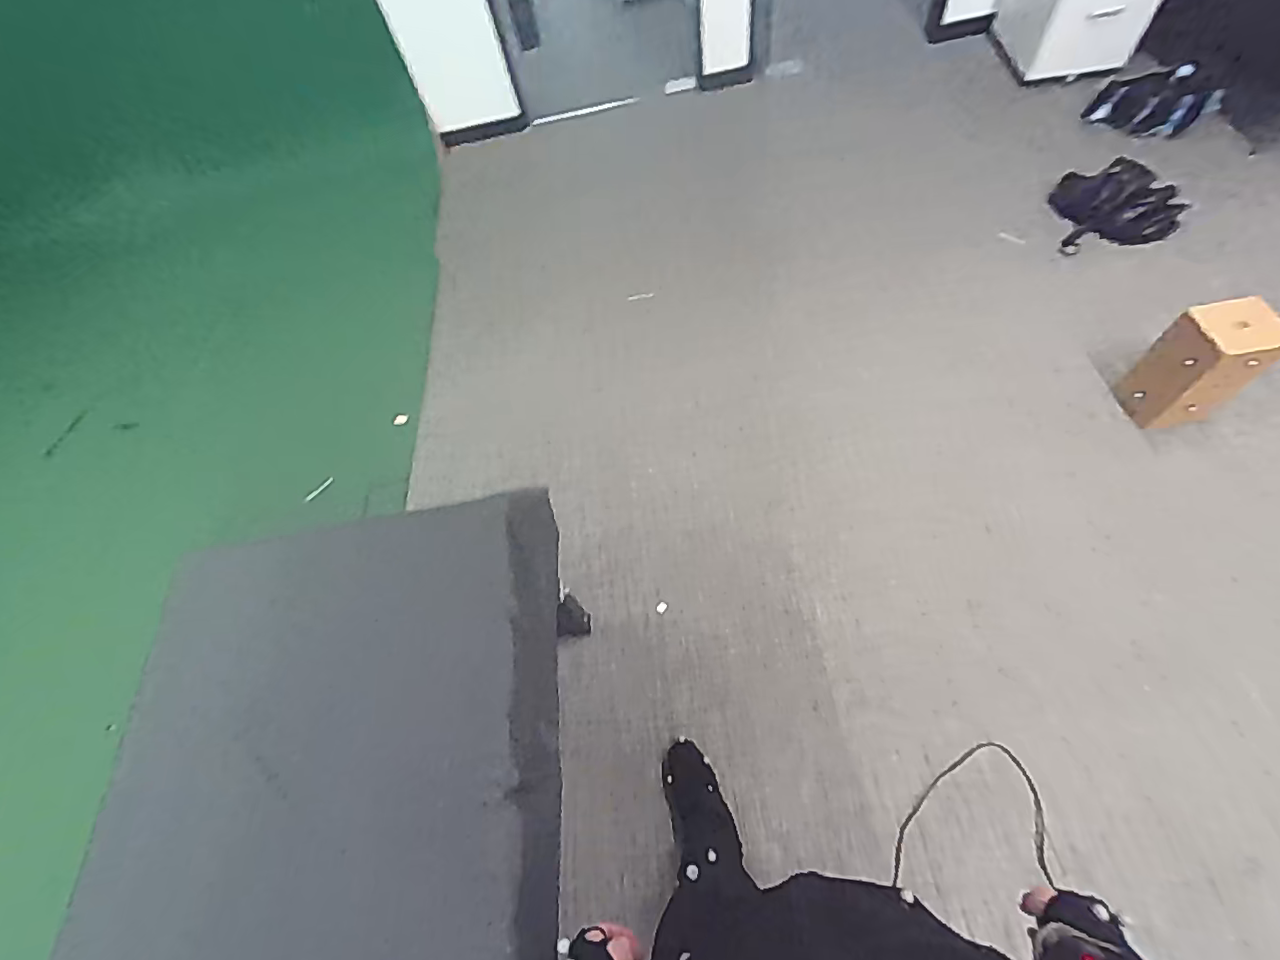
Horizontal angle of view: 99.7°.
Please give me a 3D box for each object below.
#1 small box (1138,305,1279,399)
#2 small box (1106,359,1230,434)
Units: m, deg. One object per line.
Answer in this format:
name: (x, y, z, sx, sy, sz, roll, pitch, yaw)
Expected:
small box: (1.502, -0.336, 1.449, 0.179, 0.176, 0.168, -10, 61, 2)
small box: (1.528, -0.255, 1.588, 0.179, 0.176, 0.168, -12, 59, 3)
